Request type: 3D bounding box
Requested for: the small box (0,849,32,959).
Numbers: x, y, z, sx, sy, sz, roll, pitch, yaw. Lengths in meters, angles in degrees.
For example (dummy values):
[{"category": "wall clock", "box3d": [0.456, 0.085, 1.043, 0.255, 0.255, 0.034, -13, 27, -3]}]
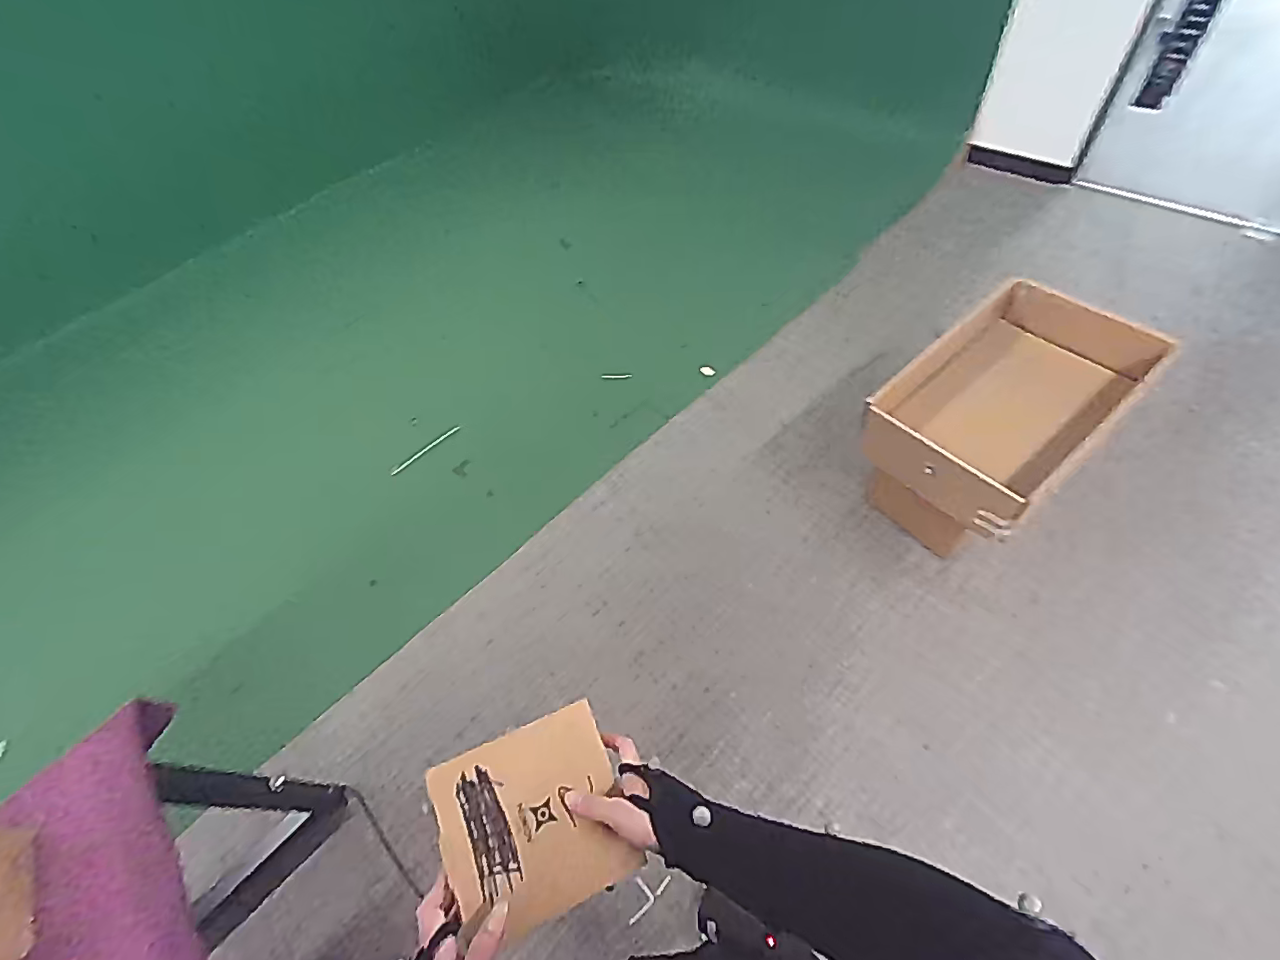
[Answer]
[{"category": "small box", "box3d": [-0.977, 0.620, 0.716, 0.168, 0.176, 0.179, -33, 58, -12]}]
